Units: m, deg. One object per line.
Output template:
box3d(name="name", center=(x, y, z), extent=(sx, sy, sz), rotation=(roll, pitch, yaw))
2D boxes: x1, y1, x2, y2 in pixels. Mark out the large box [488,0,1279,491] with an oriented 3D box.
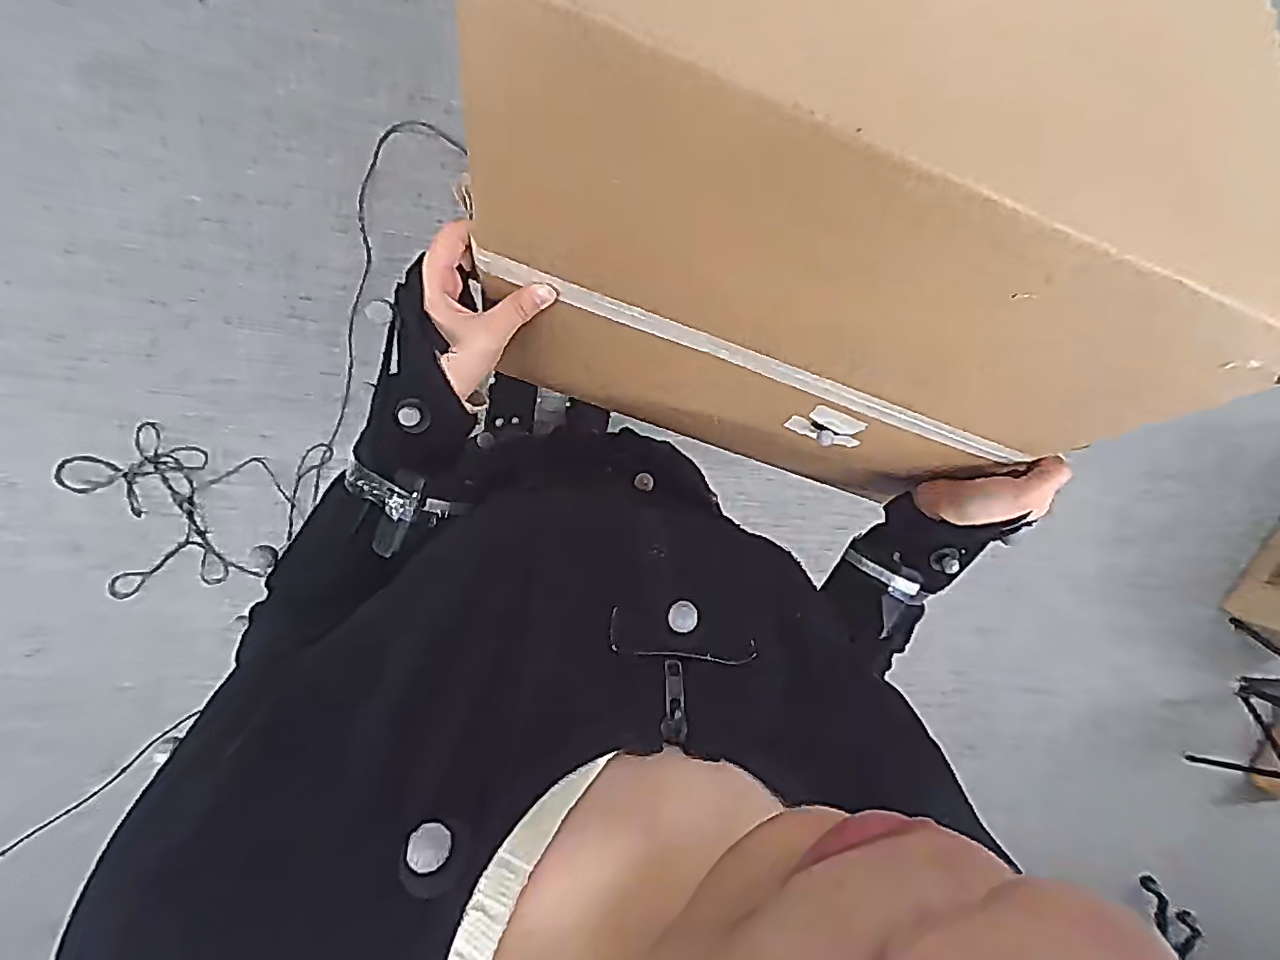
box3d(name="large box", center=(0.141, -0.225, 0.380), extent=(0.408, 0.320, 0.320), rotation=(17, 72, -8))
